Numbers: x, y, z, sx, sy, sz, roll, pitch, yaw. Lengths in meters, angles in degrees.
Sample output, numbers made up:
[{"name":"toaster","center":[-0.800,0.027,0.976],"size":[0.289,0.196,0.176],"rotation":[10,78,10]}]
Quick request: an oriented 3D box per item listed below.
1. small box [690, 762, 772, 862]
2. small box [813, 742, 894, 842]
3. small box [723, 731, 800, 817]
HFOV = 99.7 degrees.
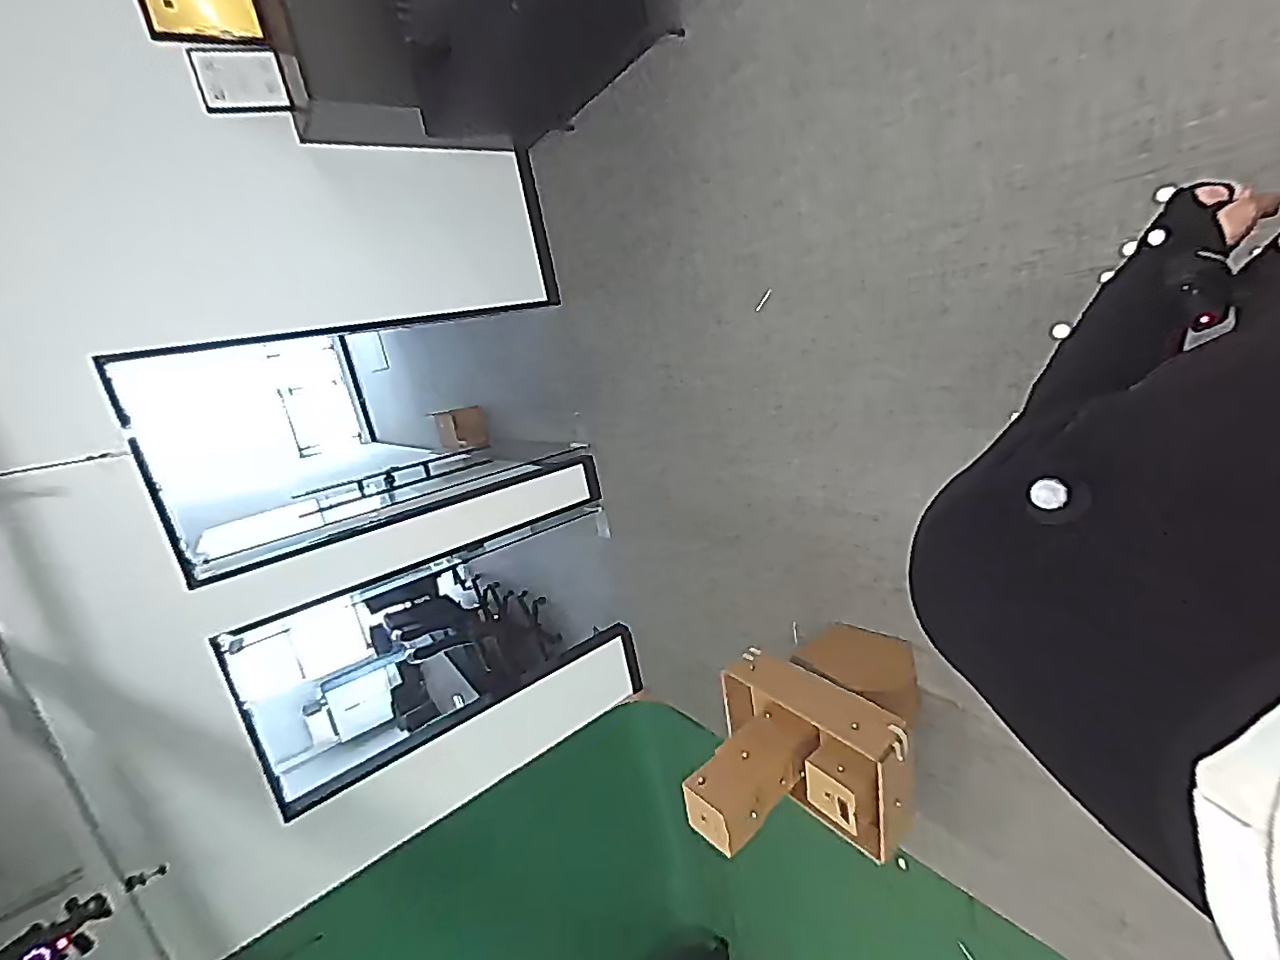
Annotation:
[{"name":"small box","center":[0.279,1.006,1.662],"size":[0.179,0.176,0.168],"rotation":[9,113,51]},{"name":"small box","center":[0.662,0.950,1.667],"size":[0.179,0.176,0.168],"rotation":[15,118,54]},{"name":"small box","center":[0.398,0.958,1.766],"size":[0.179,0.176,0.168],"rotation":[11,115,51]}]
